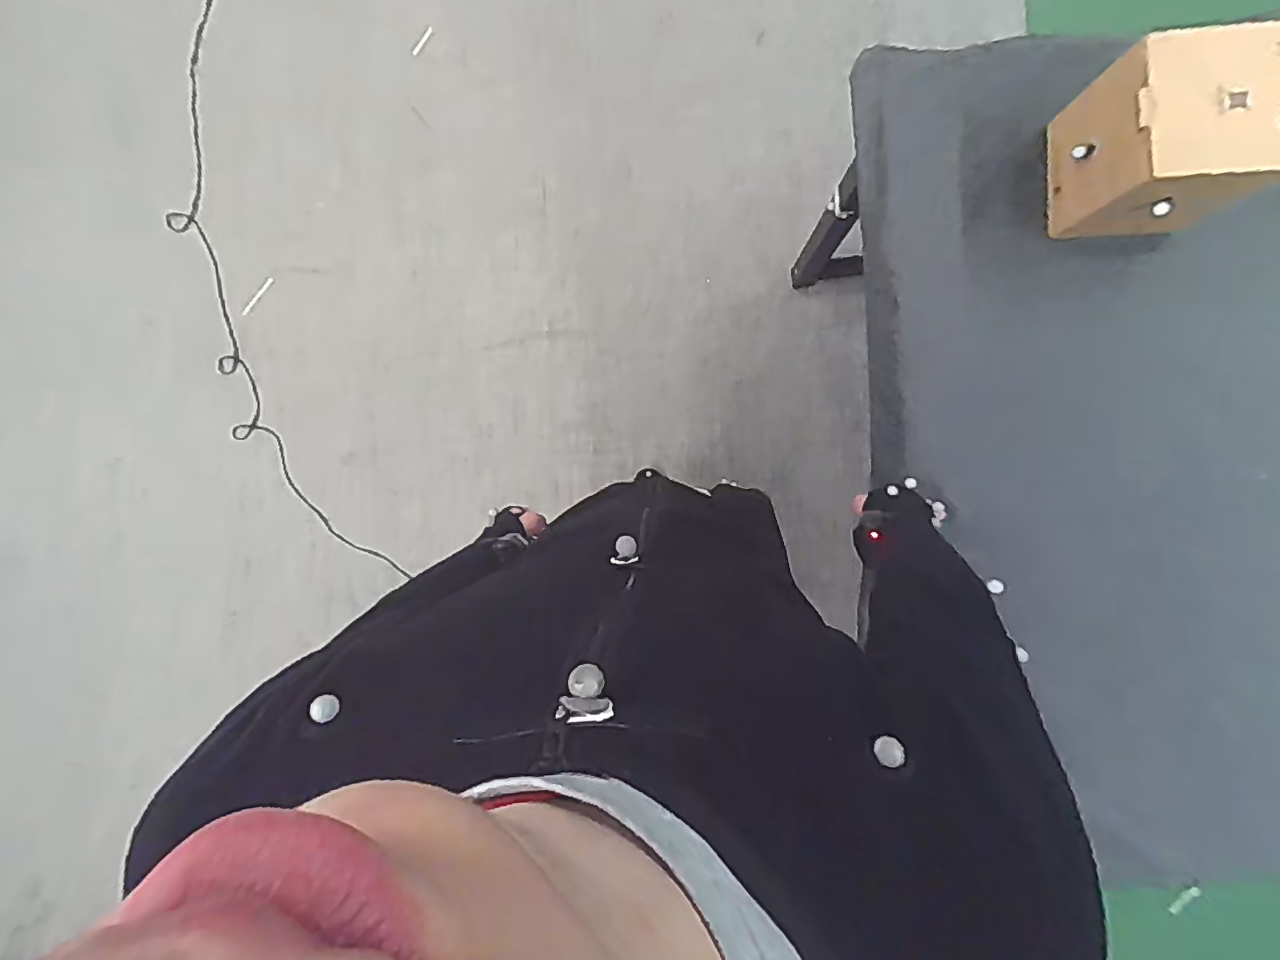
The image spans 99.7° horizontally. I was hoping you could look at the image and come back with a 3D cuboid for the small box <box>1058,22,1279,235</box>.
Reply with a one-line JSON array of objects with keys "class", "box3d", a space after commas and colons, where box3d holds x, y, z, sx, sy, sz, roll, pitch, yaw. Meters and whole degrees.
[{"class": "small box", "box3d": [0.671, -0.425, 0.683, 0.179, 0.176, 0.168, -1, 92, 5]}]
